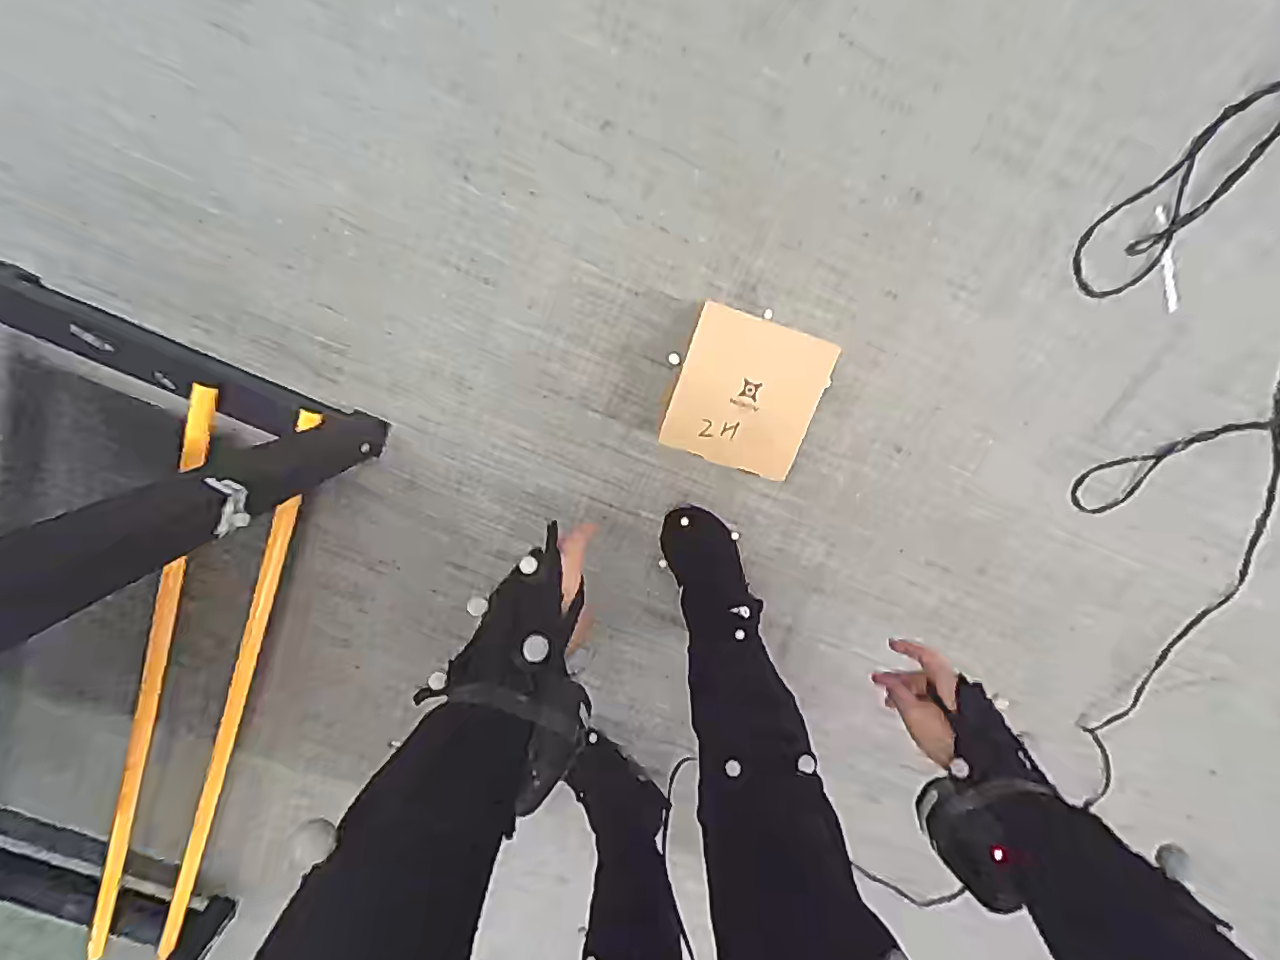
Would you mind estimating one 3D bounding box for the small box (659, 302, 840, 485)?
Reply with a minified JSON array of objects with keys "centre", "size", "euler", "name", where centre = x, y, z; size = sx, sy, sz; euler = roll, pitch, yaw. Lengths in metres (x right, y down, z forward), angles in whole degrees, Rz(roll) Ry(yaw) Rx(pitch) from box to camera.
[{"centre":[0.127,-0.119,0.707],"size":[0.168,0.176,0.179],"euler":[18,107,-3],"name":"small box"}]
